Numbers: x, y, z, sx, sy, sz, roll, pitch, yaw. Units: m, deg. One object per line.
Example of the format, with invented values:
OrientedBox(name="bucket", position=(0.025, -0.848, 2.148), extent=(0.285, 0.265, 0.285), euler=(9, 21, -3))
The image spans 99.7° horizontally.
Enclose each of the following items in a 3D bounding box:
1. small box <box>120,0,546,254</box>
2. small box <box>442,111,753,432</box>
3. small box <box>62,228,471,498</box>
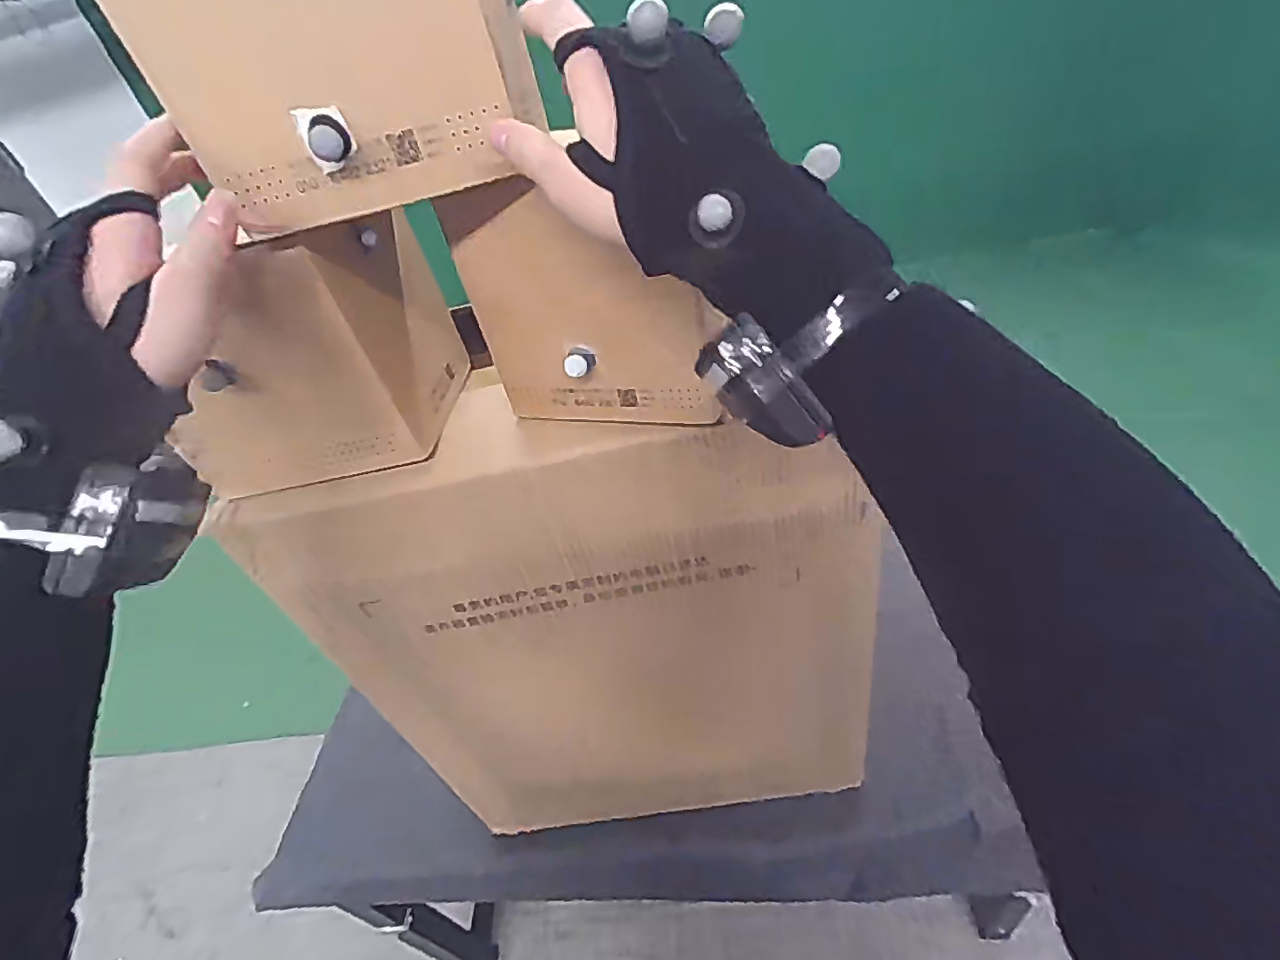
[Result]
OrientedBox(name="small box", position=(-0.162, -0.255, 0.323), extent=(0.168, 0.176, 0.179), euler=(-14, 38, 4))
OrientedBox(name="small box", position=(-0.013, -0.156, 0.413), extent=(0.168, 0.176, 0.179), euler=(4, 42, 24))
OrientedBox(name="small box", position=(-0.266, -0.105, 0.440), extent=(0.179, 0.176, 0.168), euler=(-12, 38, 6))
